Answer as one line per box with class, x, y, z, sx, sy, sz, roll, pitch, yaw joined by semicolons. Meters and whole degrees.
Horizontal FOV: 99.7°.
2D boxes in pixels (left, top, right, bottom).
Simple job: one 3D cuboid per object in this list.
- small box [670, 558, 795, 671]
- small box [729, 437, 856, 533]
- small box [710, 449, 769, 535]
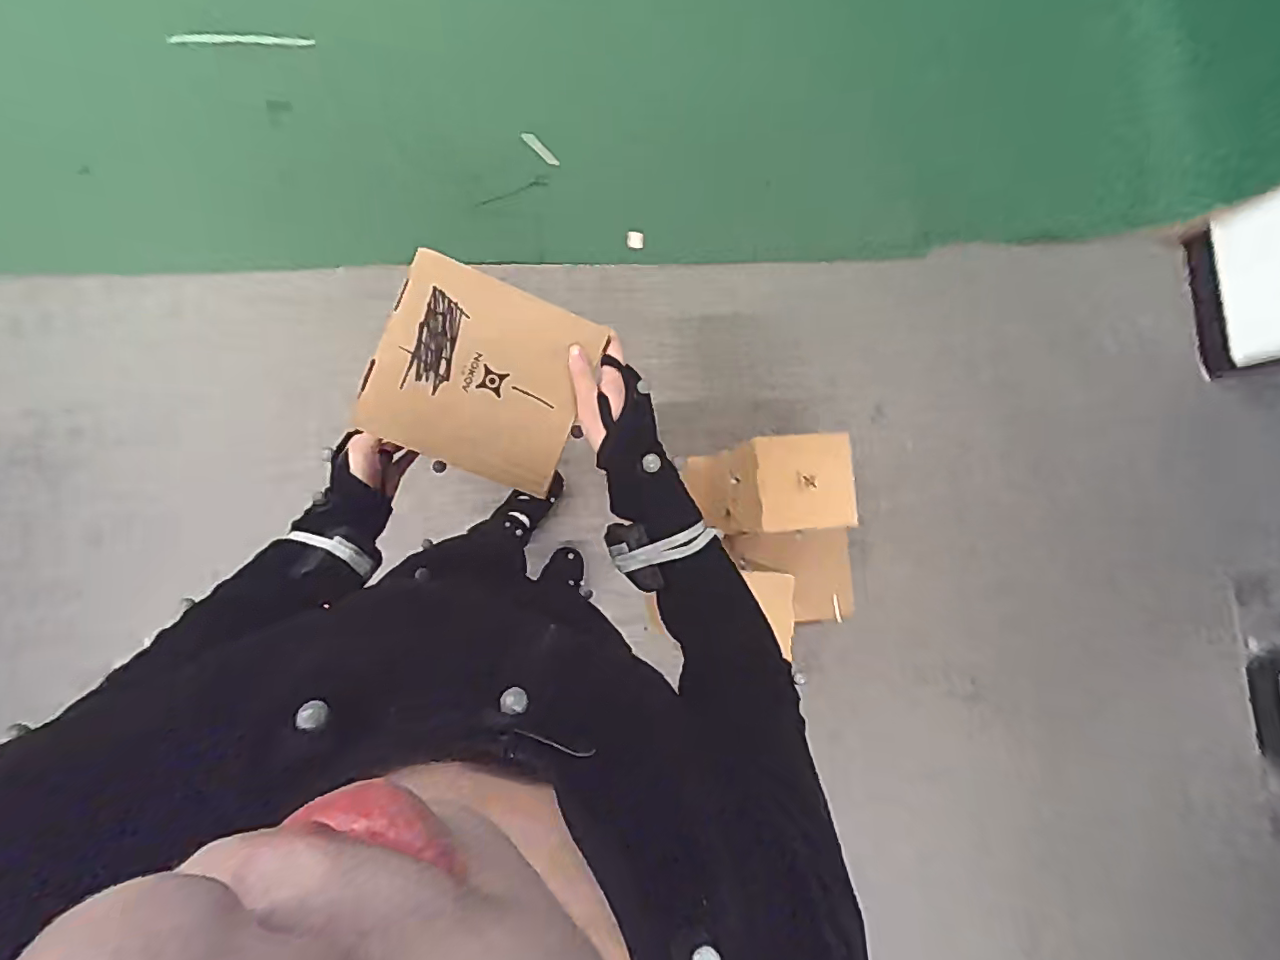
small box;0.160;0.236;0.980;0.179;0.176;0.168;5;86;-7
small box;0.278;0.010;1.011;0.179;0.176;0.168;-2;87;-8
small box;0.256;0.023;1.172;0.168;0.176;0.179;-4;87;-9
